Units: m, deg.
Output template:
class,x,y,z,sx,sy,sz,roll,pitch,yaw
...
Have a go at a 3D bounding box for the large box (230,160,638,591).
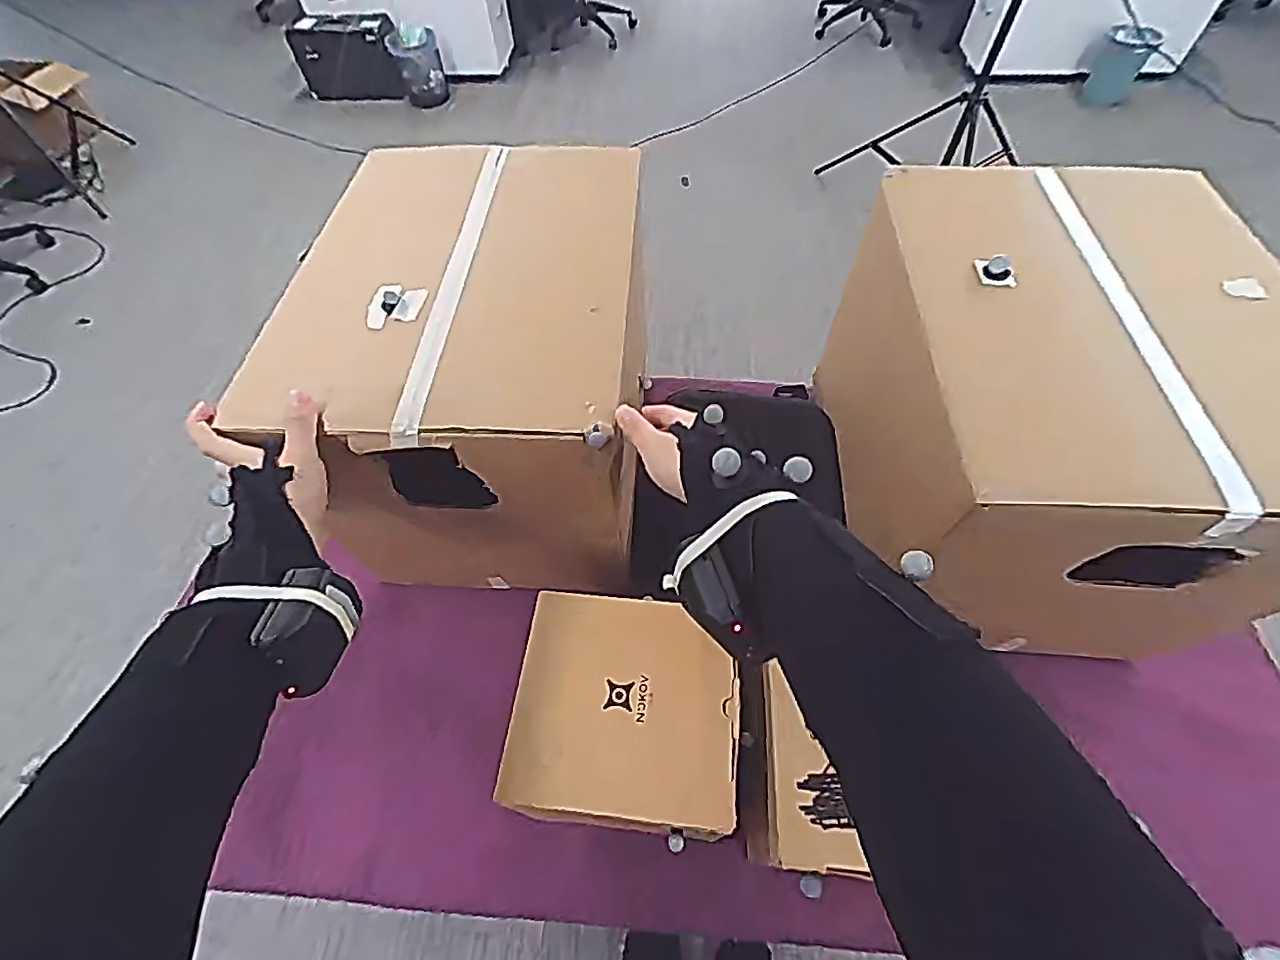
class,x,y,z,sx,sy,sz,roll,pitch,yaw
large box,-0.159,-0.113,0.640,0.320,0.320,0.408,0,59,3
